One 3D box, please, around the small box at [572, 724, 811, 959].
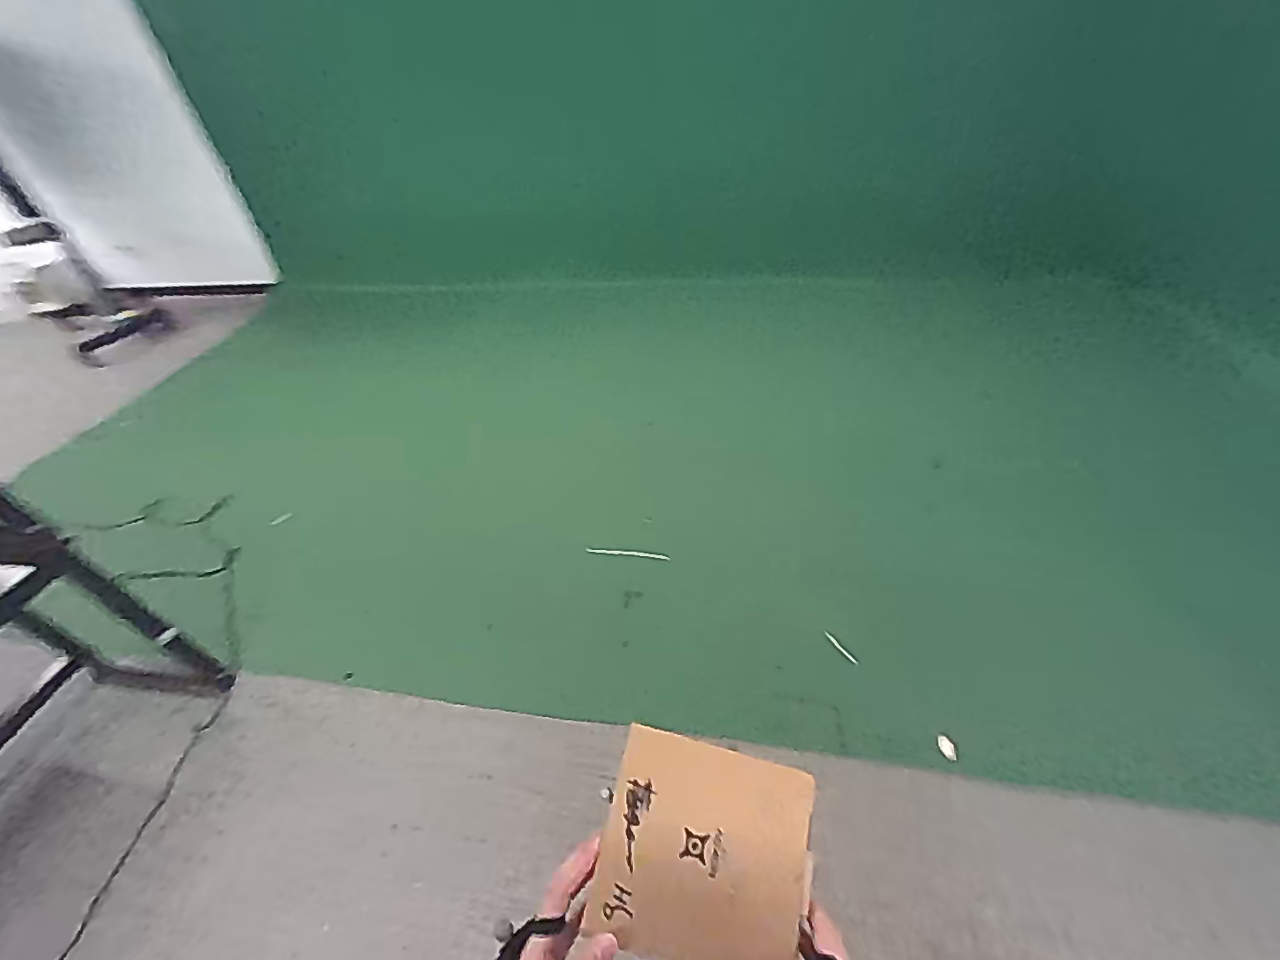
[{"bbox_3d":[0.048,0.354,0.525,0.179,0.176,0.168,13,59,7],"label":"small box"}]
